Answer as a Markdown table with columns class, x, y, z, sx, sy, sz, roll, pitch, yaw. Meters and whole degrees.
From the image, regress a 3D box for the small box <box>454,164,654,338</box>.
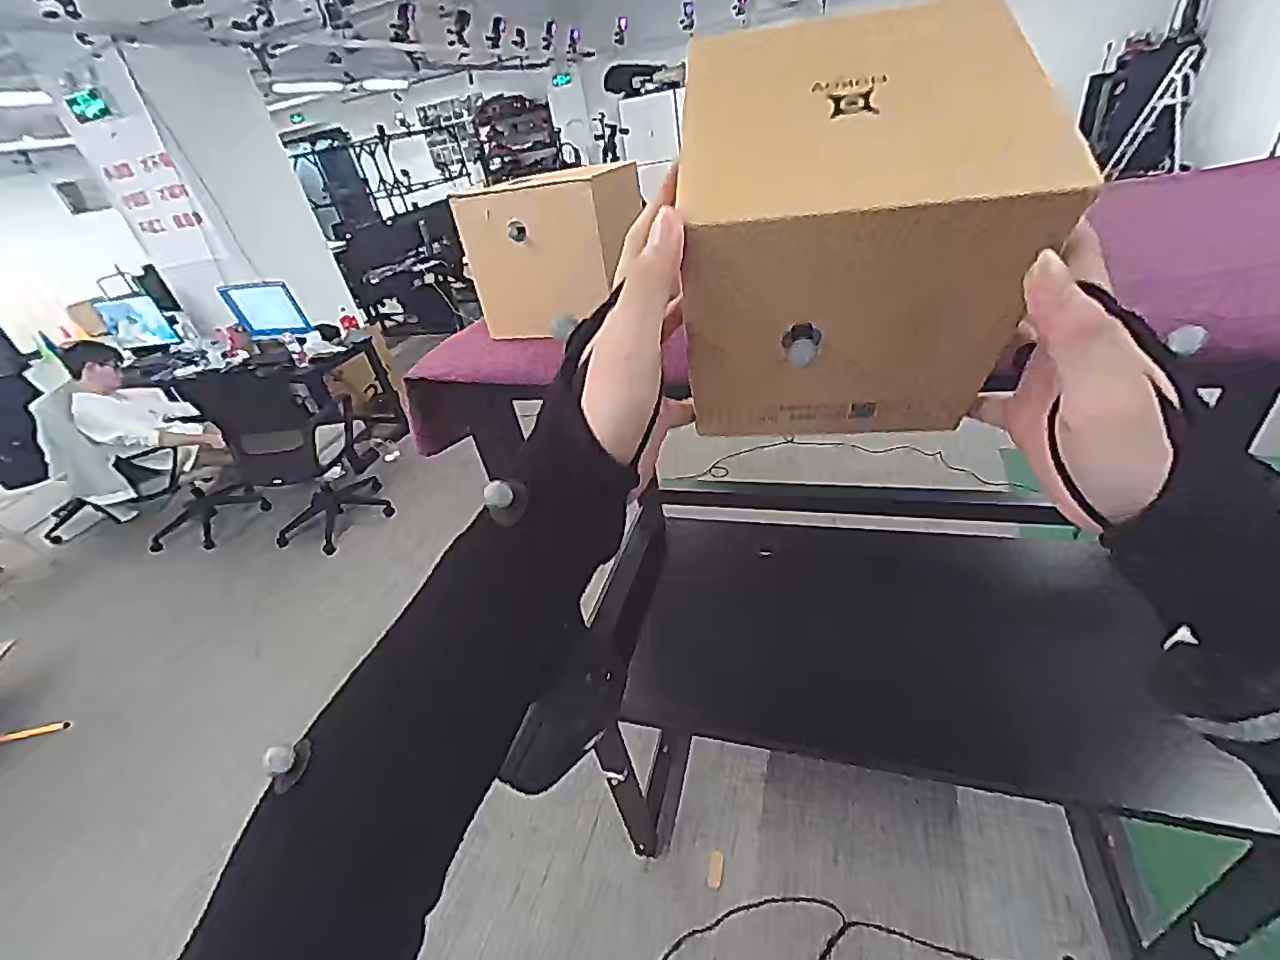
| class | x | y | z | sx | sy | sz | roll | pitch | yaw |
| --- | --- | --- | --- | --- | --- | --- | --- | --- | --- |
| small box | -0.094 | -0.285 | 0.682 | 0.179 | 0.176 | 0.168 | 3 | 35 | 19 |

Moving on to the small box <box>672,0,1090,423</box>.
| class | x | y | z | sx | sy | sz | roll | pitch | yaw |
| --- | --- | --- | --- | --- | --- | --- | --- | --- | --- |
| small box | 0.115 | -0.146 | 0.331 | 0.168 | 0.176 | 0.179 | -1 | 60 | 11 |
